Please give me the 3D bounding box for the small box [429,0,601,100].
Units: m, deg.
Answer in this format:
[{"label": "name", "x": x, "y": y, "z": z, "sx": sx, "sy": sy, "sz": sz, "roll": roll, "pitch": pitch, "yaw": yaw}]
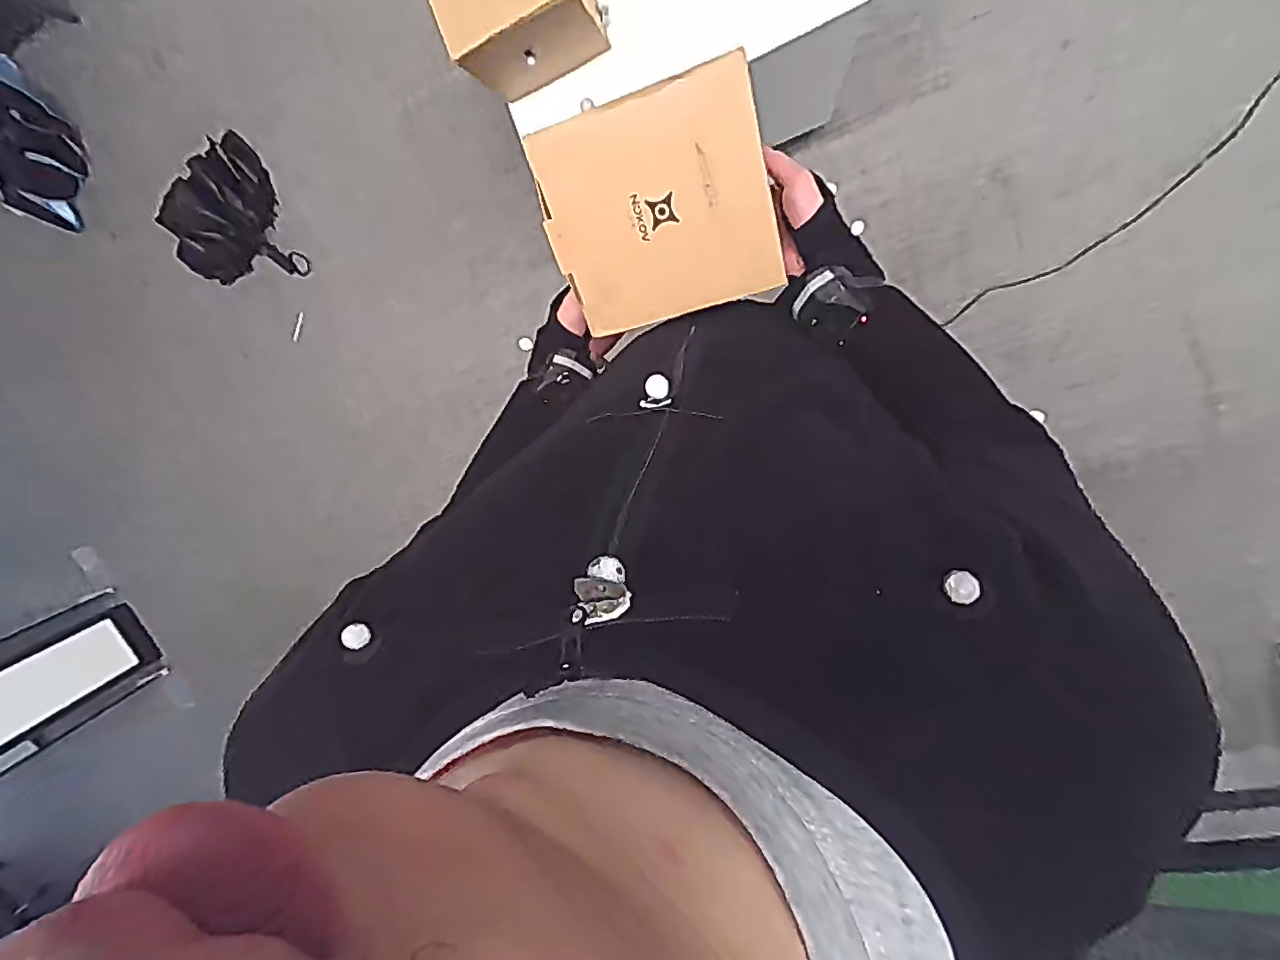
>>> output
[{"label": "small box", "x": -0.163, "y": -0.639, "z": 0.701, "sx": 0.179, "sy": 0.176, "sz": 0.168, "roll": -15, "pitch": 104, "yaw": 18}]
